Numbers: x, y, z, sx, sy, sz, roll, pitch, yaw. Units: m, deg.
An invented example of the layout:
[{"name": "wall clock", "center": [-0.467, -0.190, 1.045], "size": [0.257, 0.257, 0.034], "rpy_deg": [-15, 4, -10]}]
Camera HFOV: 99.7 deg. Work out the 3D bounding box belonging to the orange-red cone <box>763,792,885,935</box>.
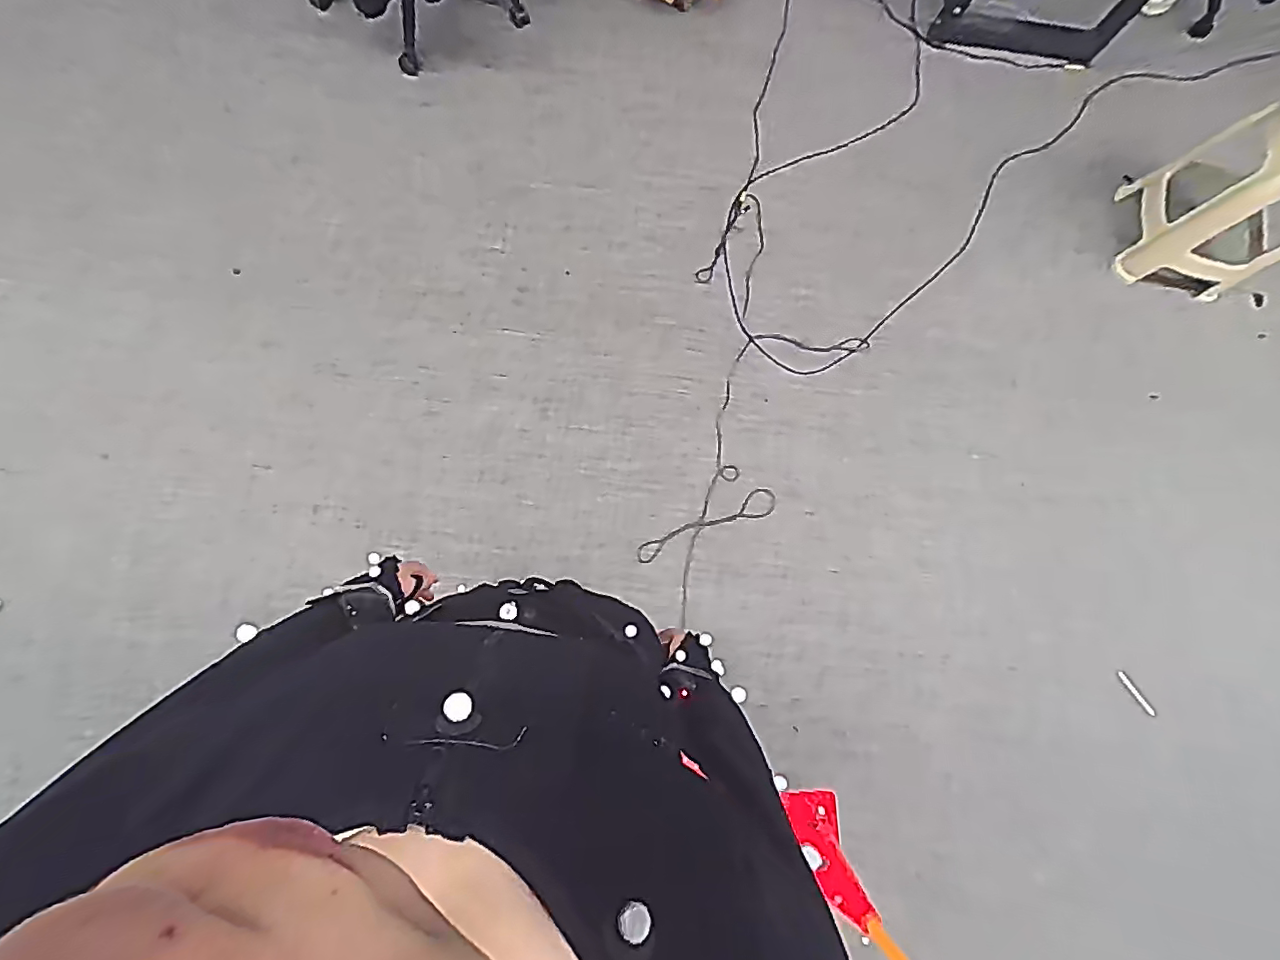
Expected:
[{"name": "orange-red cone", "center": [0.405, 0.825, 1.131], "size": [0.199, 0.360, 0.198], "rpy_deg": [0, 79, -4]}]
